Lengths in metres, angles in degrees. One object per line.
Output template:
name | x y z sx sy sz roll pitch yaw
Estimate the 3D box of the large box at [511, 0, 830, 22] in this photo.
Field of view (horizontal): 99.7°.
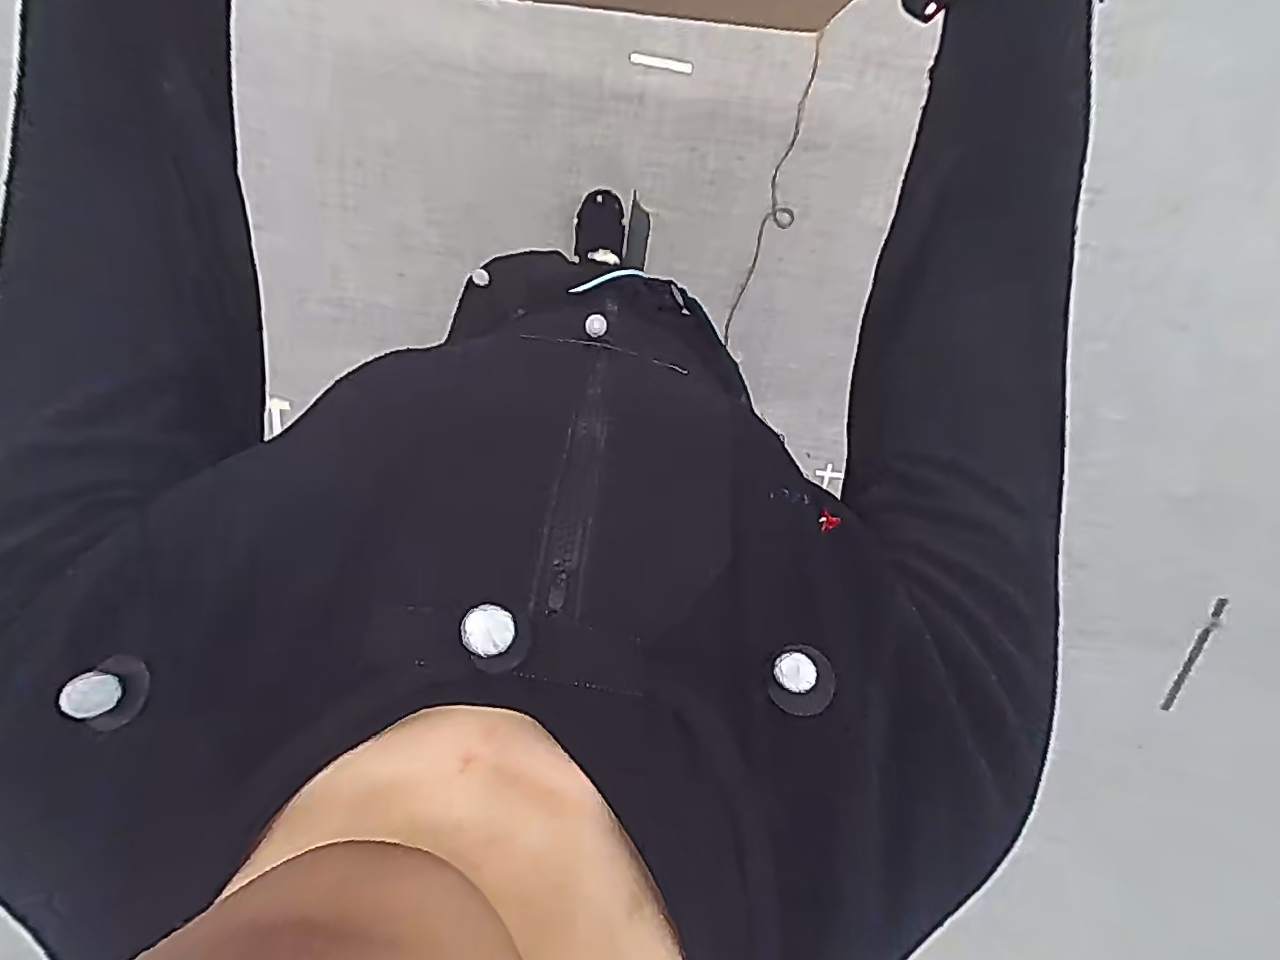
large box | -0.005 -0.561 0.371 0.408 0.320 0.320 5 120 -1
